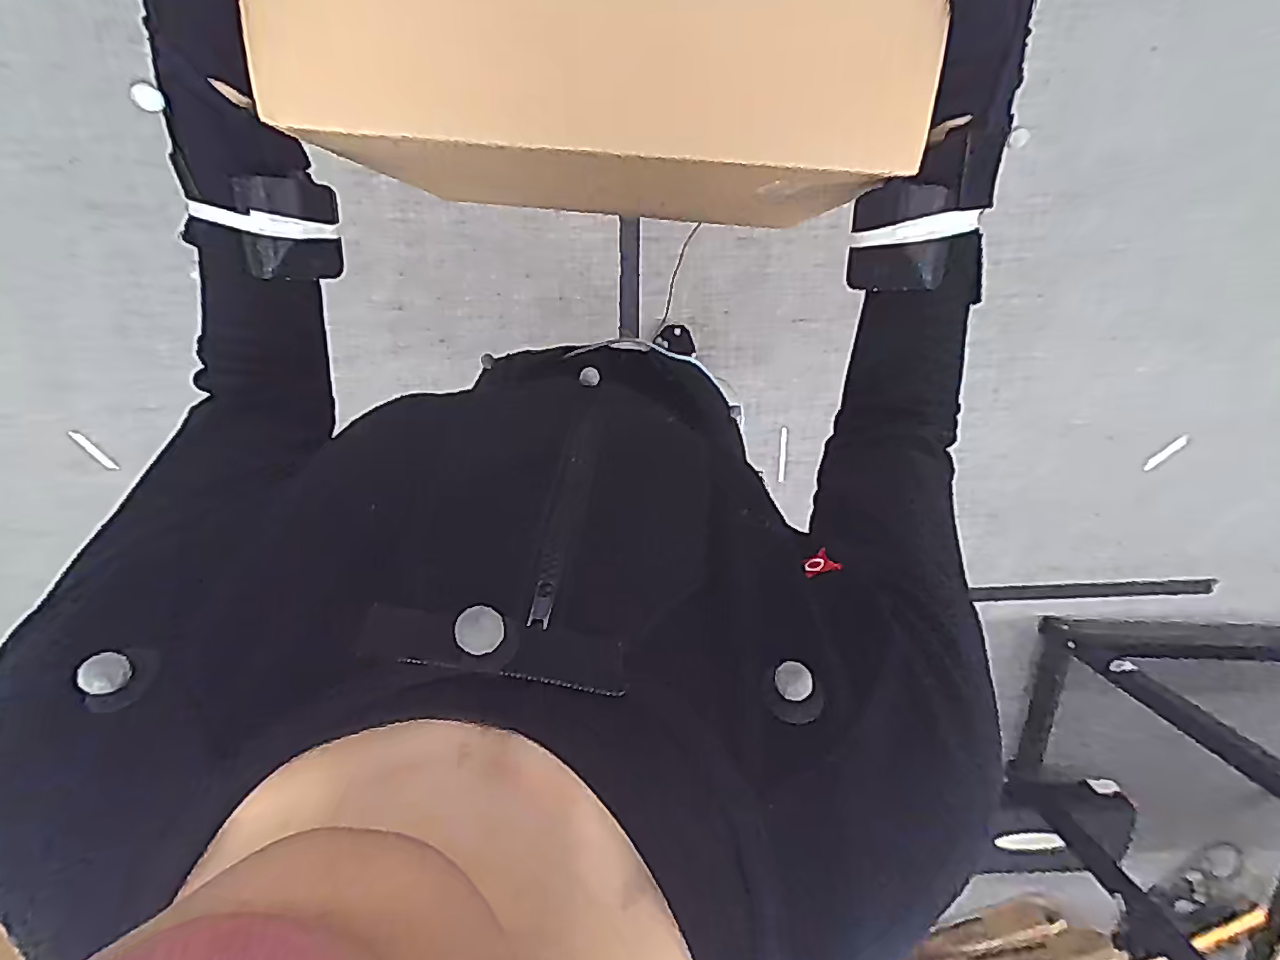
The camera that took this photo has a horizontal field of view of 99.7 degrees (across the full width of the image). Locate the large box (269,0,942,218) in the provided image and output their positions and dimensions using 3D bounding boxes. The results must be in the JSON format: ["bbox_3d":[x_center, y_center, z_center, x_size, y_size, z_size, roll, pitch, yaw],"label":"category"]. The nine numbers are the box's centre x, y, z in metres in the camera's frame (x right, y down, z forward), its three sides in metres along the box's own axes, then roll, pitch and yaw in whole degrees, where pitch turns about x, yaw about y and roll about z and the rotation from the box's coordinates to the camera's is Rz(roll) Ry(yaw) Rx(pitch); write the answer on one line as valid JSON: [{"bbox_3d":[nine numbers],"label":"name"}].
[{"bbox_3d":[-0.016,-0.406,0.432,0.408,0.320,0.320,4,111,-1],"label":"large box"}]
